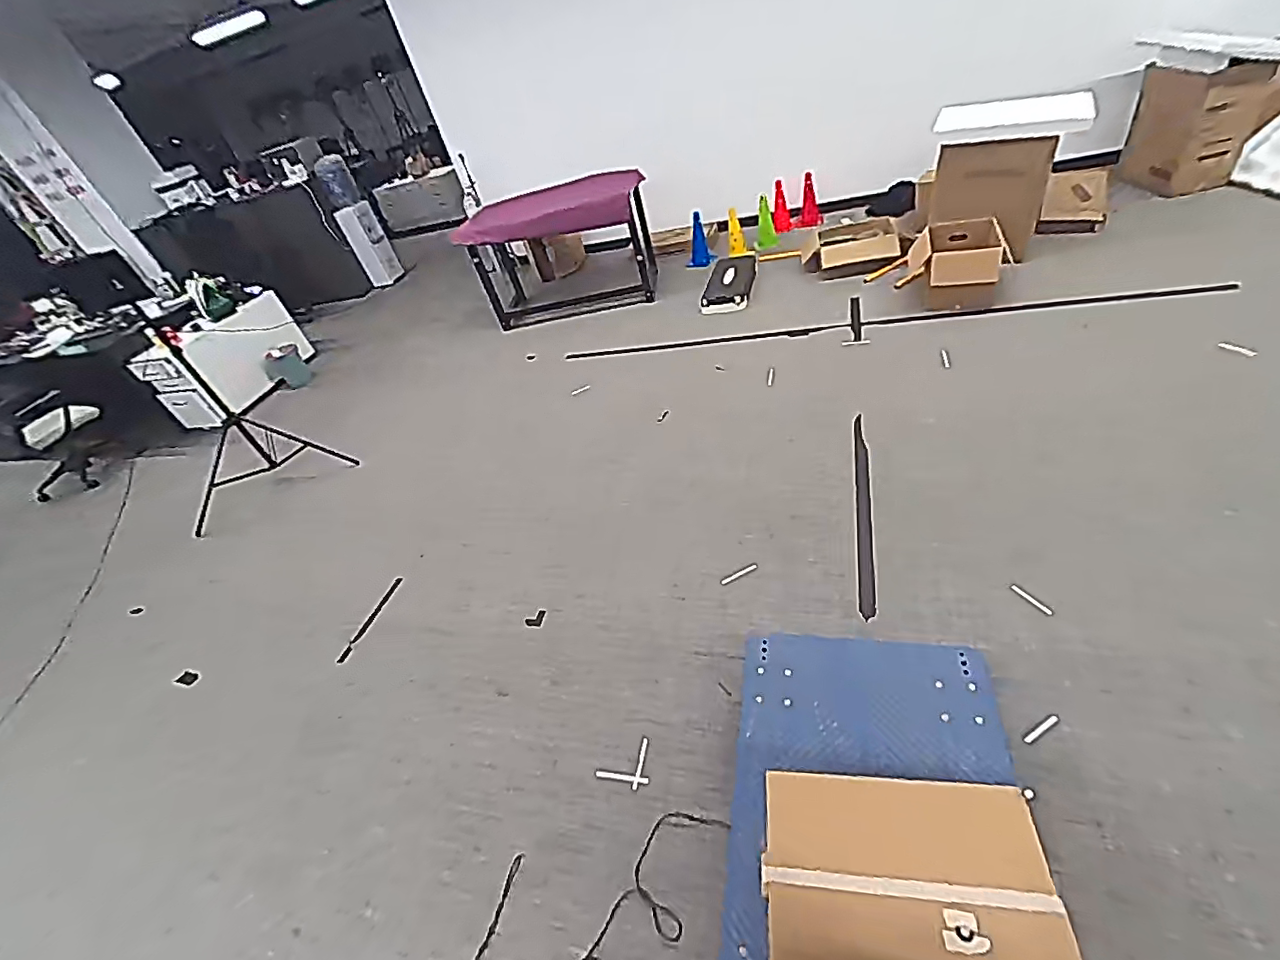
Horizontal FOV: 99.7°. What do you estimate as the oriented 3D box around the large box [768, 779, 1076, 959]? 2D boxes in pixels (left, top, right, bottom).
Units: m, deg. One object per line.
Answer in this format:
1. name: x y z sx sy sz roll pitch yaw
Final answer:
1. large box: 0.431 0.735 0.902 0.408 0.320 0.320 -4 41 15
